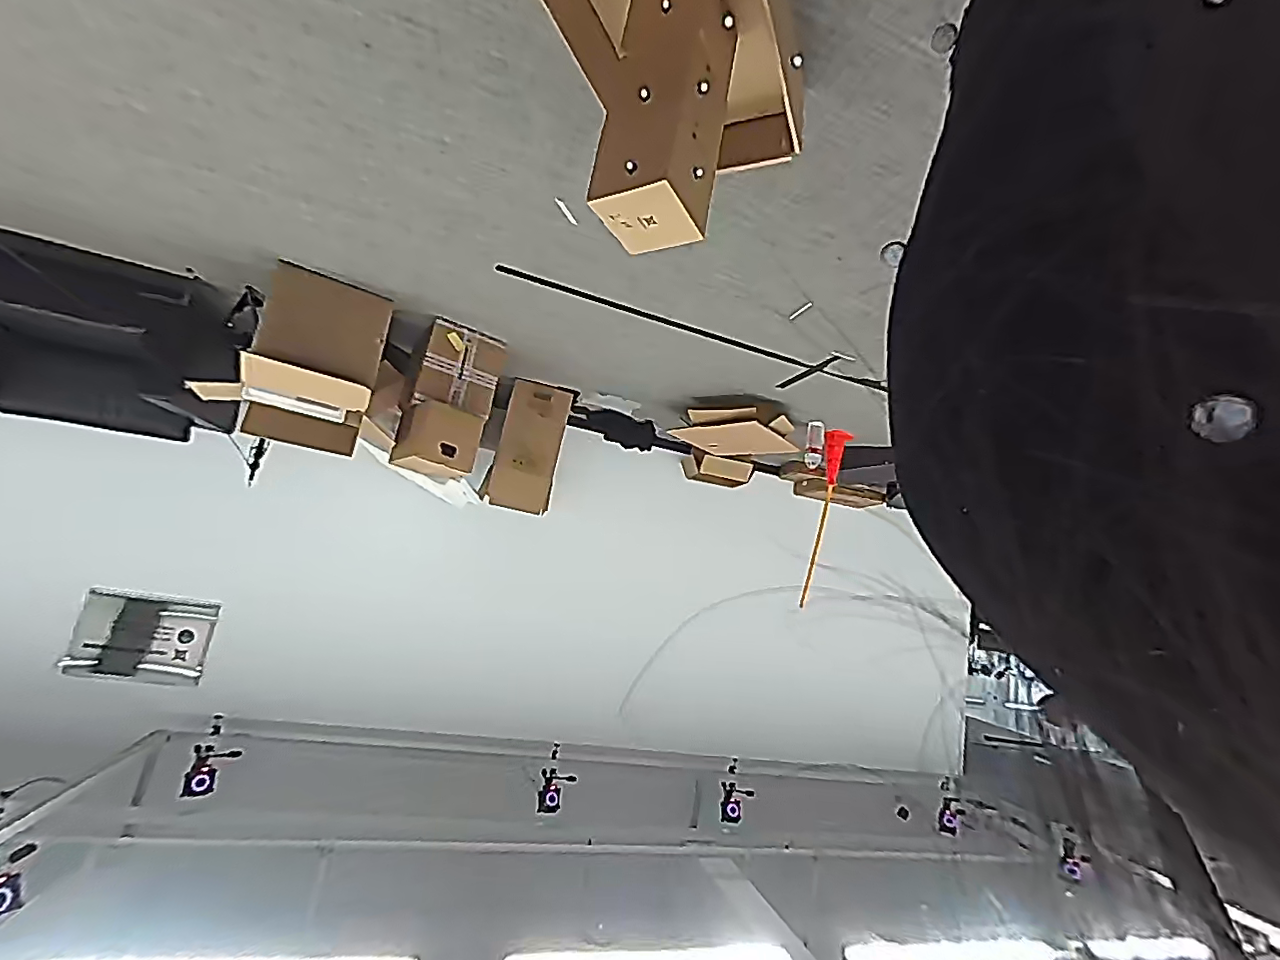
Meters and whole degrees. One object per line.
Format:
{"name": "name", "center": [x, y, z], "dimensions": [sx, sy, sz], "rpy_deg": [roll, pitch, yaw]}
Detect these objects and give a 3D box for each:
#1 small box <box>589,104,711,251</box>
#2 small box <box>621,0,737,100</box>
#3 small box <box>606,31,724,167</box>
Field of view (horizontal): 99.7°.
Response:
{"name": "small box", "center": [0.028, -0.577, 1.043], "dimensions": [0.179, 0.176, 0.168], "rpy_deg": [3, 166, 32]}
{"name": "small box", "center": [0.084, -0.895, 1.102], "dimensions": [0.179, 0.176, 0.168], "rpy_deg": [4, 168, 27]}
{"name": "small box", "center": [0.057, -0.737, 1.080], "dimensions": [0.179, 0.176, 0.168], "rpy_deg": [5, 167, 32]}
